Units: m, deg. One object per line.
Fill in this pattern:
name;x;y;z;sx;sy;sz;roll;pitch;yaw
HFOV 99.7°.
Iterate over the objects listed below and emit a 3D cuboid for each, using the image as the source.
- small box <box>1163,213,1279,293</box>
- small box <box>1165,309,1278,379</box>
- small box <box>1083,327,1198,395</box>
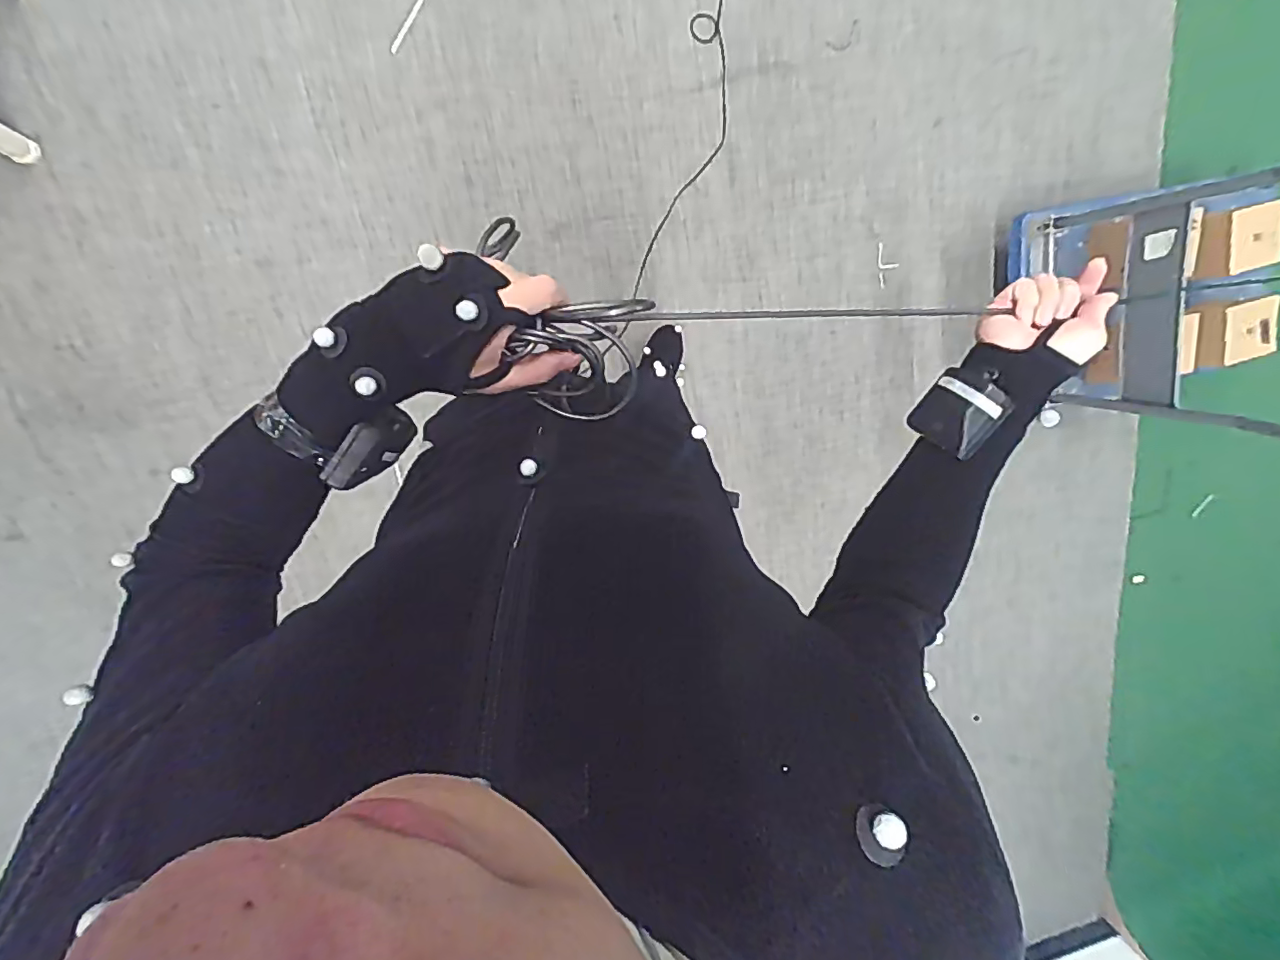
small box;1.644;-0.637;1.533;0.179;0.176;0.168;-15;106;-6
small box;1.704;-0.402;1.599;0.179;0.176;0.168;-15;104;-5
small box;1.442;-0.347;1.566;0.179;0.176;0.168;-11;105;-7
